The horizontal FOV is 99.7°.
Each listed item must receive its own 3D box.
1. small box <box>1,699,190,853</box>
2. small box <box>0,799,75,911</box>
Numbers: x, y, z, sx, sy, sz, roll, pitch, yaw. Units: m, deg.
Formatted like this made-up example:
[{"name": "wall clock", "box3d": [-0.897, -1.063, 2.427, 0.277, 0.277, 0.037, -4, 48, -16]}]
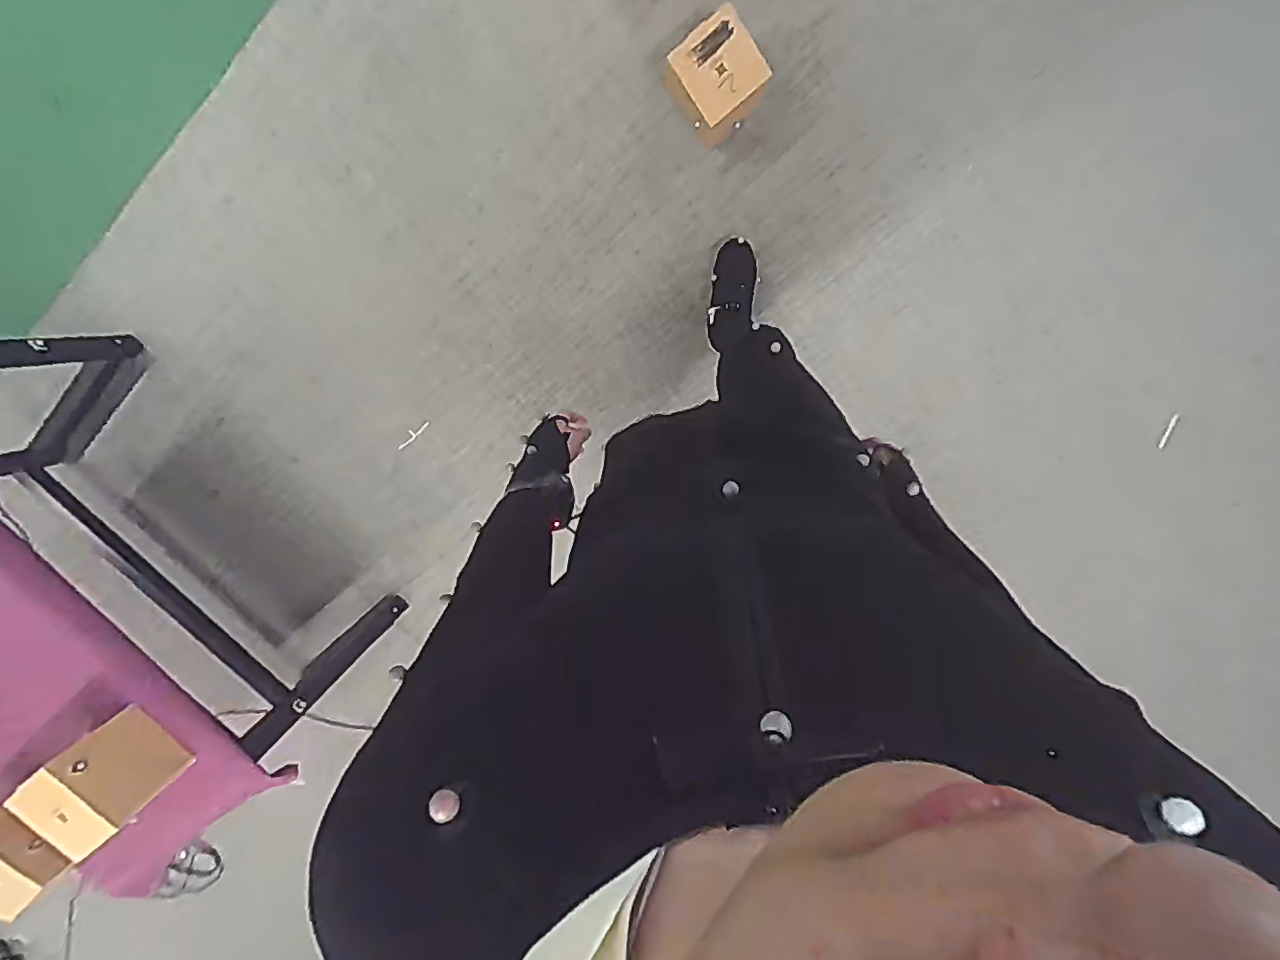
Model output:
[{"name": "small box", "box3d": [-1.057, 0.576, 1.067, 0.168, 0.176, 0.179, -37, 100, 17]}, {"name": "small box", "box3d": [-1.280, 0.746, 1.144, 0.168, 0.176, 0.179, -41, 99, 15]}]
